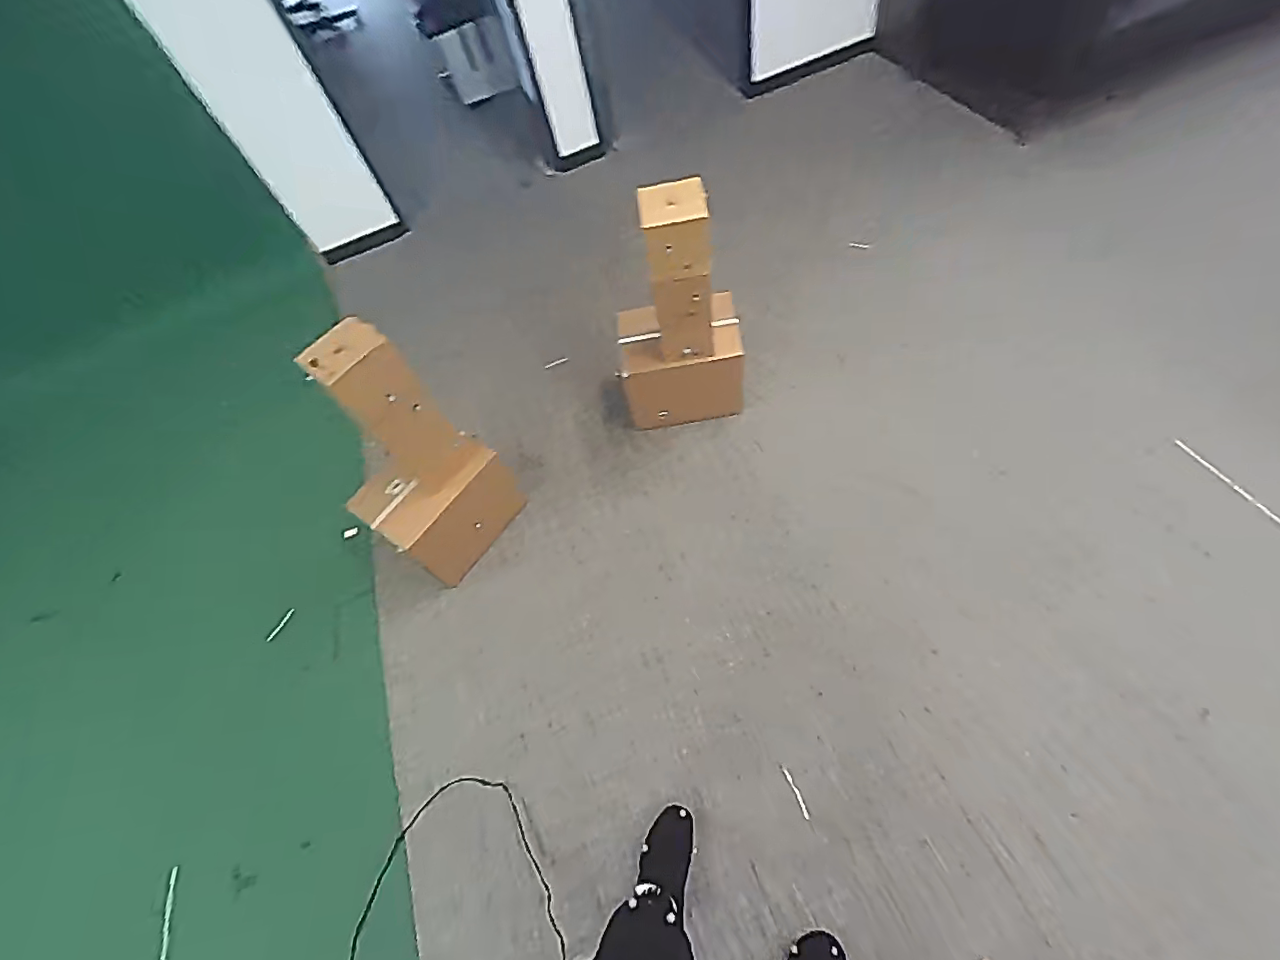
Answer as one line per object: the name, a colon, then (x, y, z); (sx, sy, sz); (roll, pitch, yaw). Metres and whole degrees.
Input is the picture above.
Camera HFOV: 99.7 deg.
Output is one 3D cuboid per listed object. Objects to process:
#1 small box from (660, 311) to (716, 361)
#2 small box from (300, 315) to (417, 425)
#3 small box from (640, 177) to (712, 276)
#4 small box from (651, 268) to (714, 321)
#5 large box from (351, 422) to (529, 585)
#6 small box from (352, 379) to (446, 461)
small box: (0.153, -0.508, 1.725); (0.168, 0.176, 0.179); (-6, 59, 8)
small box: (-0.691, -0.272, 1.355); (0.168, 0.176, 0.179); (32, 69, 27)
small box: (0.098, -0.669, 1.449); (0.168, 0.176, 0.179); (-8, 58, 6)
small box: (0.123, -0.586, 1.585); (0.168, 0.176, 0.179); (-7, 58, 6)
large box: (-0.648, 0.072, 1.819); (0.320, 0.320, 0.408); (27, 68, 26)
small box: (-0.667, -0.188, 1.493); (0.168, 0.176, 0.179); (32, 70, 27)
